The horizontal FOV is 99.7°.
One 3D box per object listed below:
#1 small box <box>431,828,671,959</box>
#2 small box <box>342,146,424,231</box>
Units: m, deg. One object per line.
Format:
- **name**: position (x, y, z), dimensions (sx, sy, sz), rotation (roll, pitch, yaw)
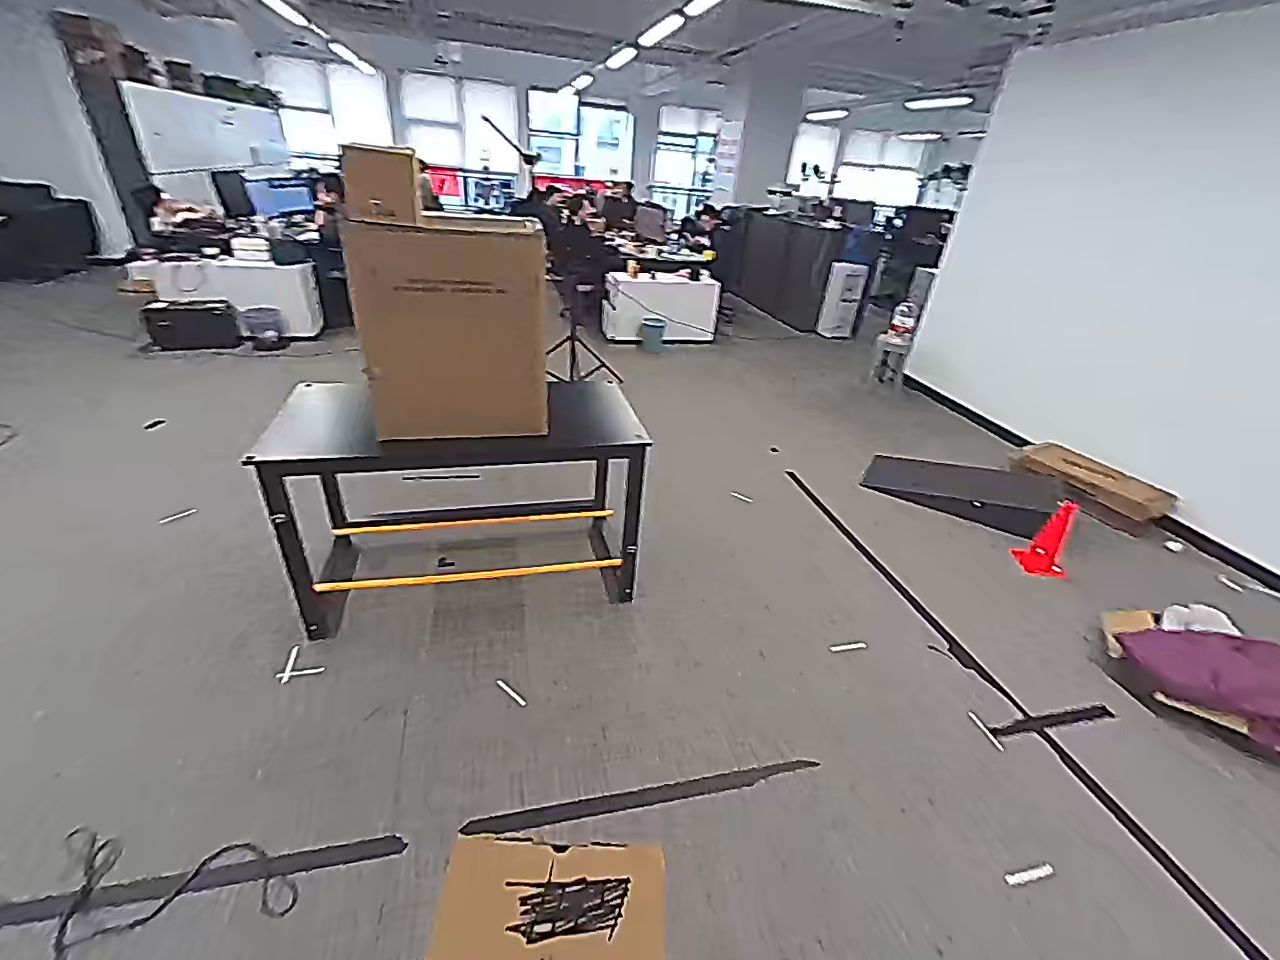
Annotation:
- **small box**: position (-0.069, 0.393, 0.410), dimensions (0.168, 0.176, 0.179), rotation (5, 41, -4)
- **small box**: position (-0.663, -0.762, 1.413), dimensions (0.168, 0.176, 0.179), rotation (-4, 34, -18)
